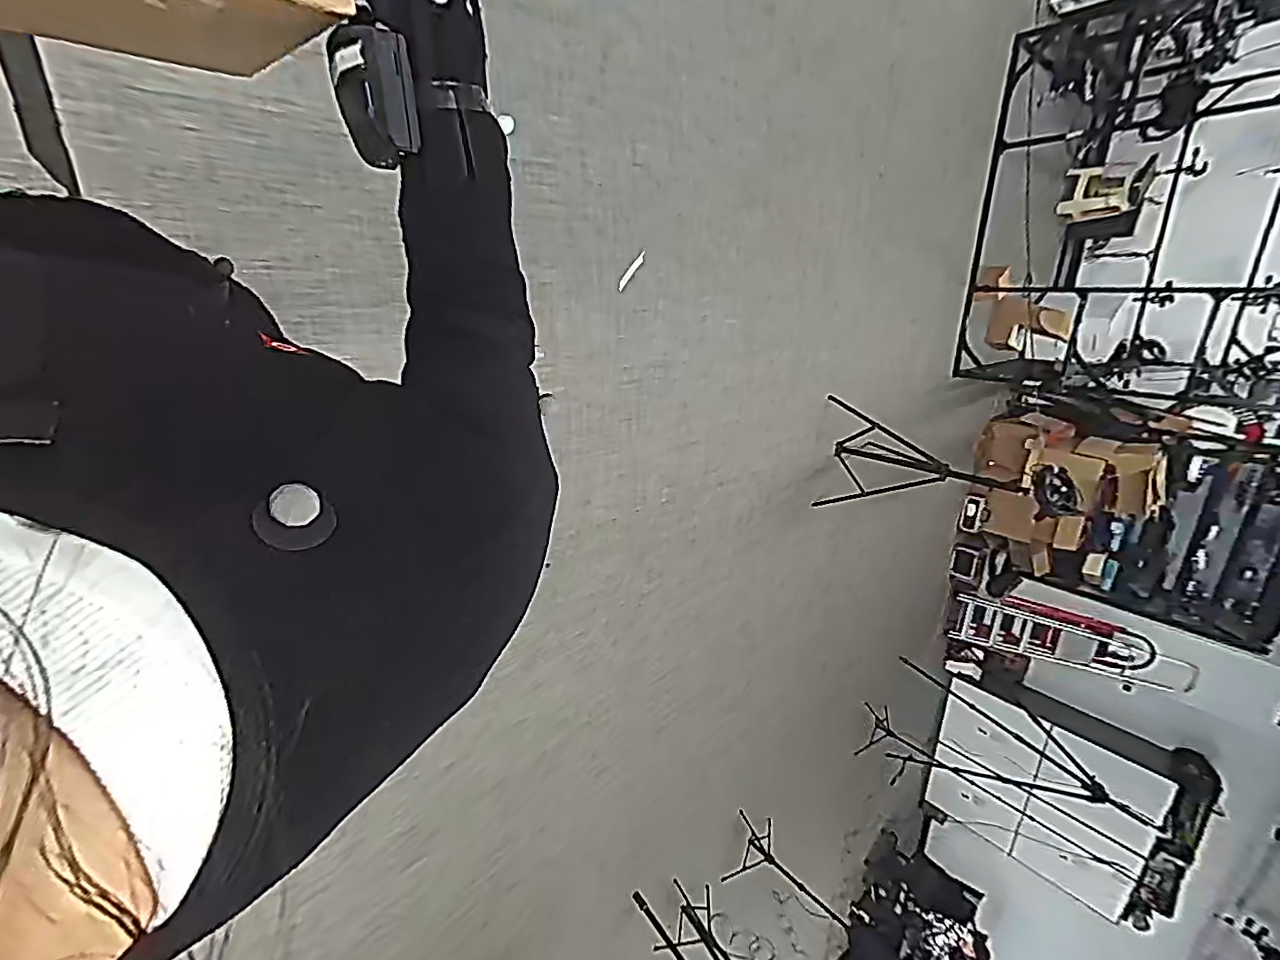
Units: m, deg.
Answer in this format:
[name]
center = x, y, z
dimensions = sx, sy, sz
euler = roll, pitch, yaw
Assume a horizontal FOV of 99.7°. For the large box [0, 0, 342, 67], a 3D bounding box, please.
[large box]
center = -0.402, -0.412, 0.215
dimensions = 0.408, 0.320, 0.320
euler = -18, 125, -39
